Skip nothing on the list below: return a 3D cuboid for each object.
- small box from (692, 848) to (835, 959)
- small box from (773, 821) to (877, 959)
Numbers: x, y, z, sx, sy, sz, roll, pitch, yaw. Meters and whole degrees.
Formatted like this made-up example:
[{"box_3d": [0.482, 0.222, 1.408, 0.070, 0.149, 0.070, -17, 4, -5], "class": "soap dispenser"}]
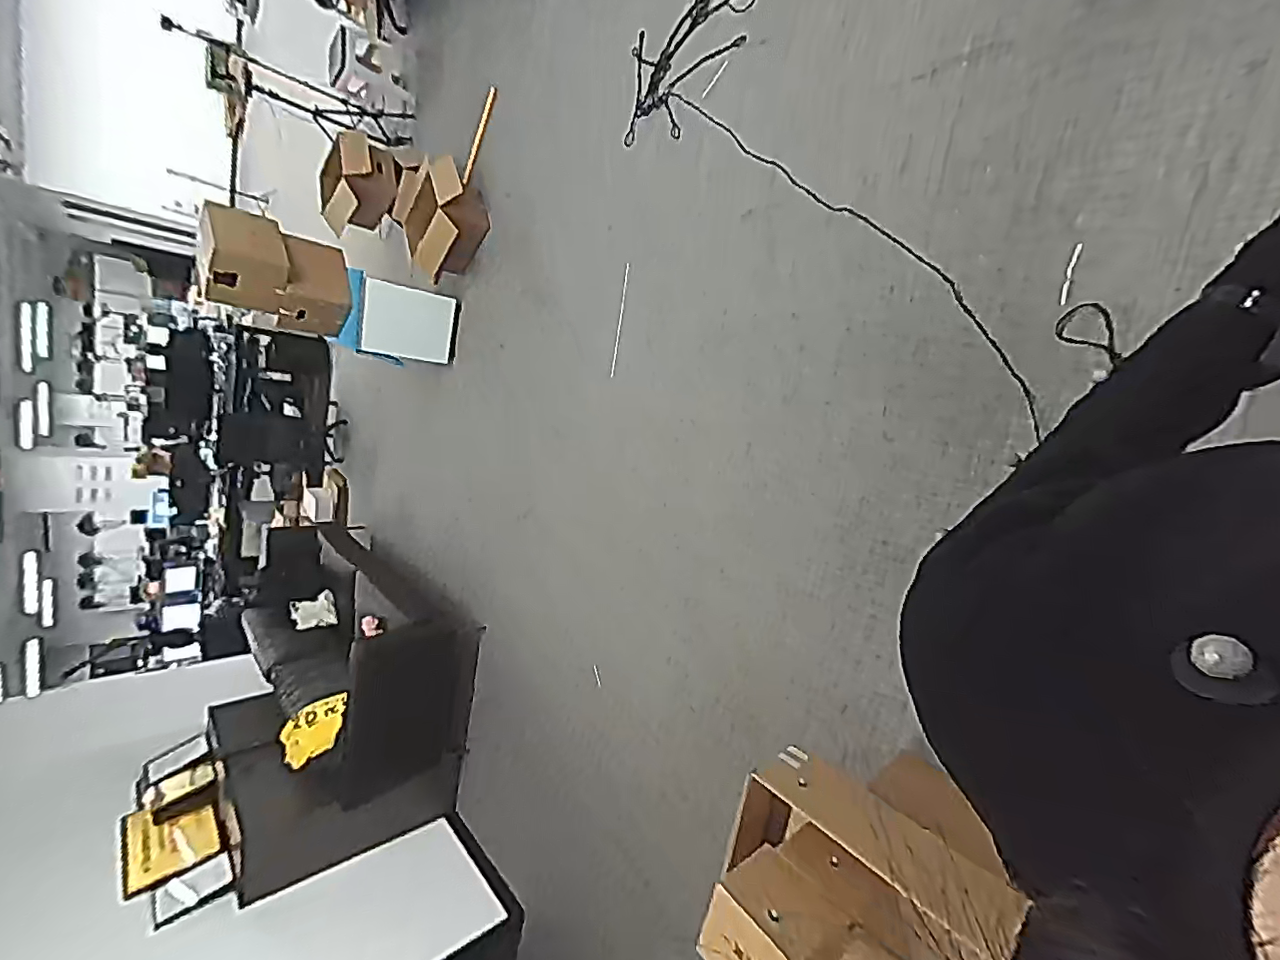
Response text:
[{"box_3d": [0.232, 0.844, 1.009, 0.179, 0.176, 0.168, 27, 107, 45], "class": "small box"}, {"box_3d": [0.360, 0.854, 1.113, 0.168, 0.176, 0.179, 28, 109, 44], "class": "small box"}]
